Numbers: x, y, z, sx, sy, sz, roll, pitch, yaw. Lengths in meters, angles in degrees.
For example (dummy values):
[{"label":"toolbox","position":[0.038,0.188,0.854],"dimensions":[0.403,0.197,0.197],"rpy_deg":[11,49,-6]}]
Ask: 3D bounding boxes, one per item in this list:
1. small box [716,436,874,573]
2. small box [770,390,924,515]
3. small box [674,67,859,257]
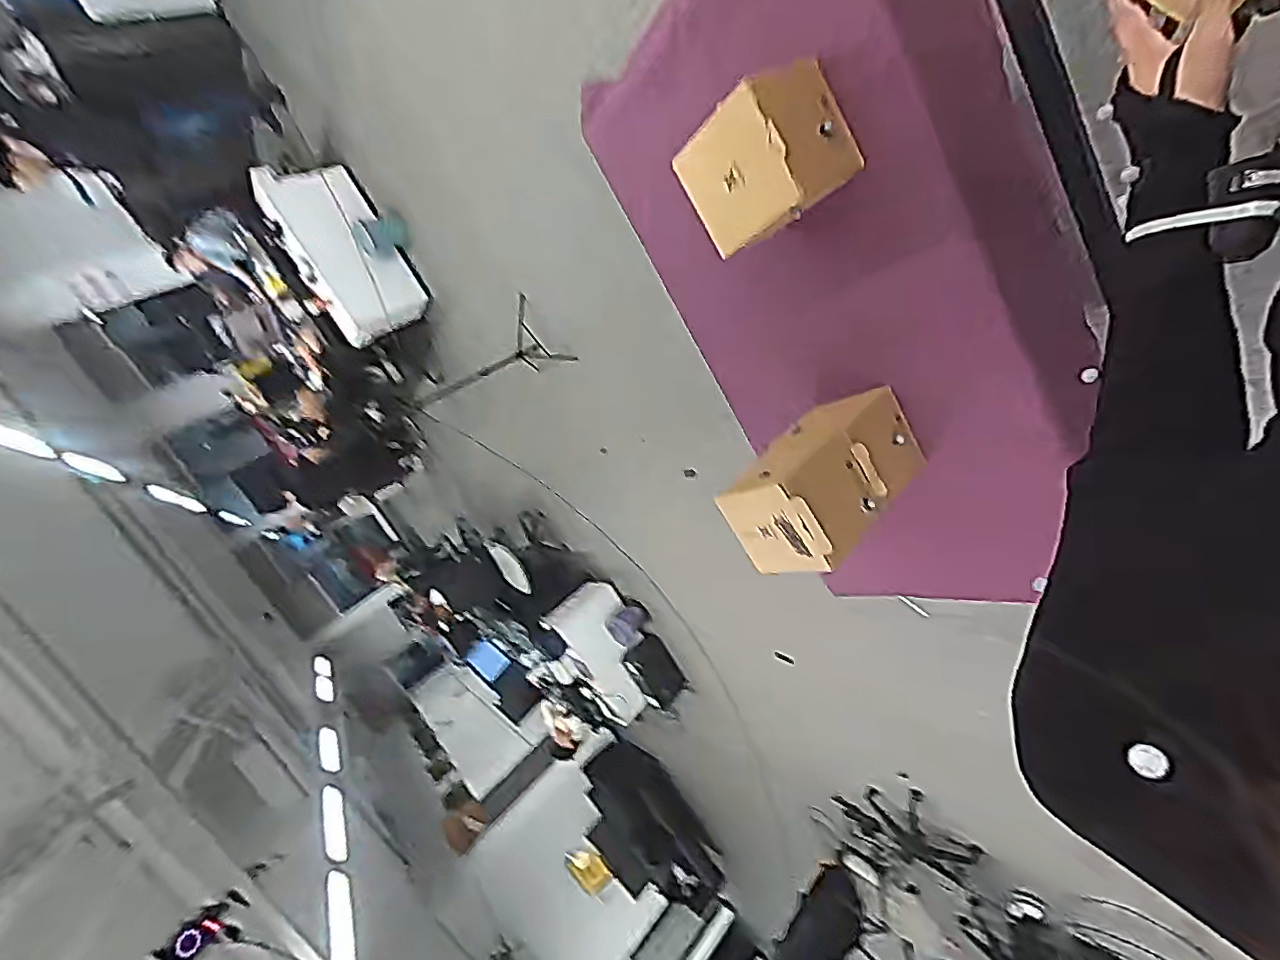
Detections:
[{"label":"small box","position":[0.272,0.043,0.930],"dimensions":[0.168,0.176,0.179],"rpy_deg":[57,152,-7]},{"label":"small box","position":[0.386,-0.045,1.009],"dimensions":[0.168,0.176,0.179],"rpy_deg":[59,150,-11]},{"label":"small box","position":[0.191,-0.476,0.821],"dimensions":[0.168,0.176,0.179],"rpy_deg":[58,151,-10]}]
